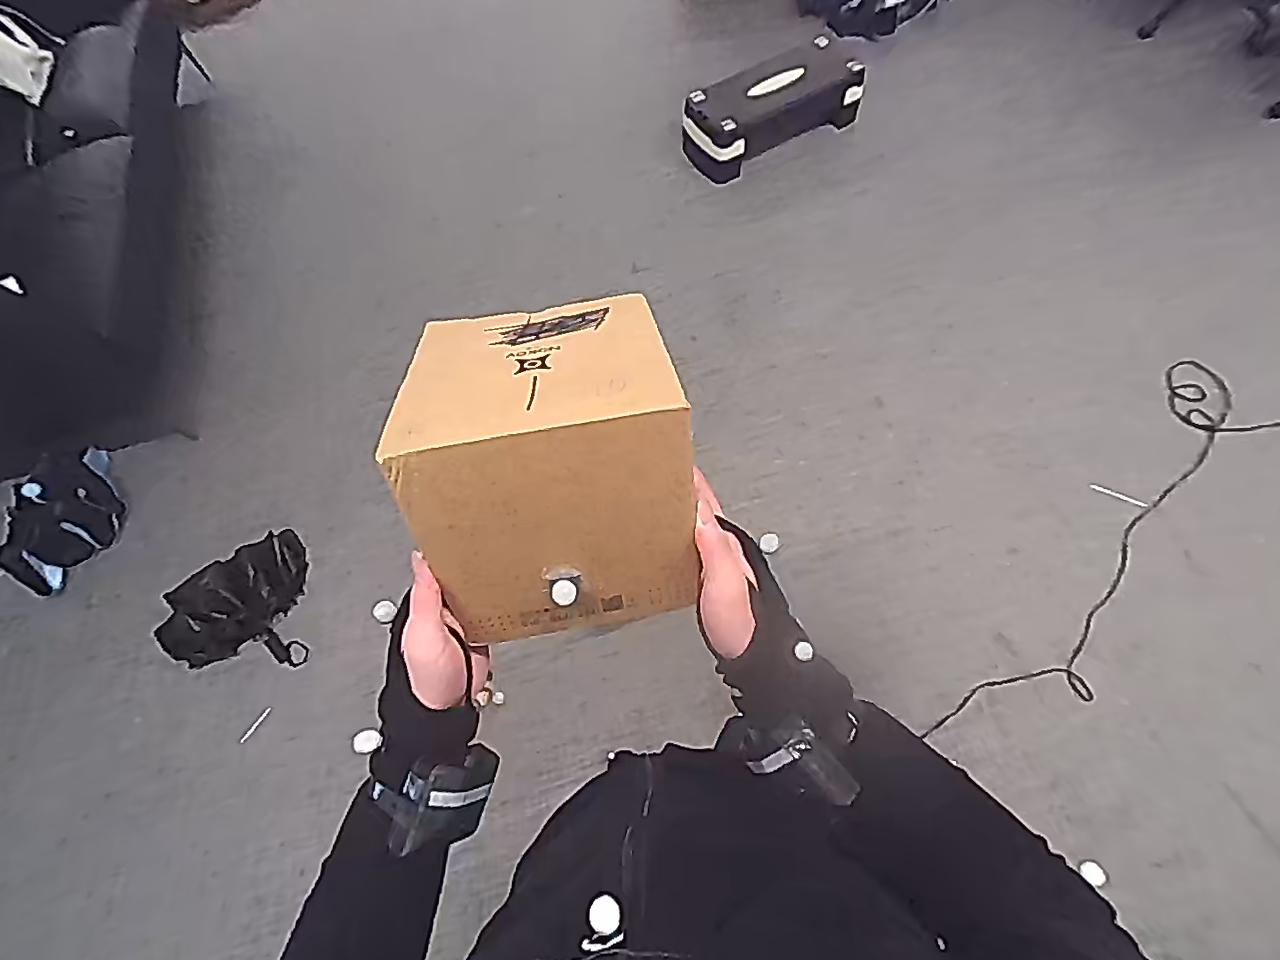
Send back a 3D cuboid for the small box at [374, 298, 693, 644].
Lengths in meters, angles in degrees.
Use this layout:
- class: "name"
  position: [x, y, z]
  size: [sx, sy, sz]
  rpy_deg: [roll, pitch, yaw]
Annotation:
- class: "small box"
  position: [-0.059, -0.011, 0.393]
  size: [0.168, 0.176, 0.179]
  rpy_deg: [-10, 40, -2]
